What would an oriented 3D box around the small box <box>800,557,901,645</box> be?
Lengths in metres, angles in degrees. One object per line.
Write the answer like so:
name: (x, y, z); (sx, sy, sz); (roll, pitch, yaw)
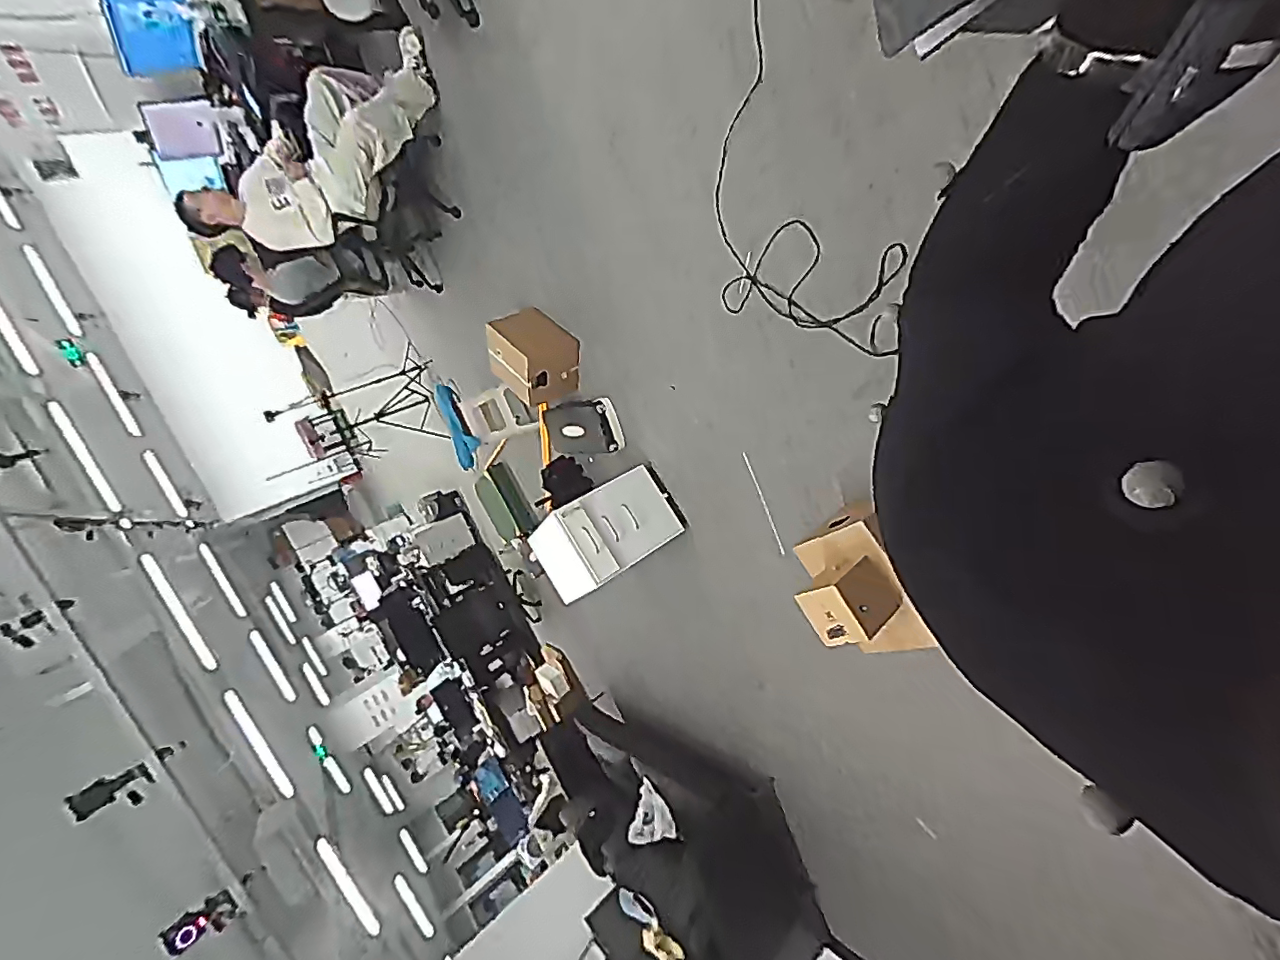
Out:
small box: (0.604, 0.347, 1.547); (0.179, 0.176, 0.168); (58, 148, 6)
